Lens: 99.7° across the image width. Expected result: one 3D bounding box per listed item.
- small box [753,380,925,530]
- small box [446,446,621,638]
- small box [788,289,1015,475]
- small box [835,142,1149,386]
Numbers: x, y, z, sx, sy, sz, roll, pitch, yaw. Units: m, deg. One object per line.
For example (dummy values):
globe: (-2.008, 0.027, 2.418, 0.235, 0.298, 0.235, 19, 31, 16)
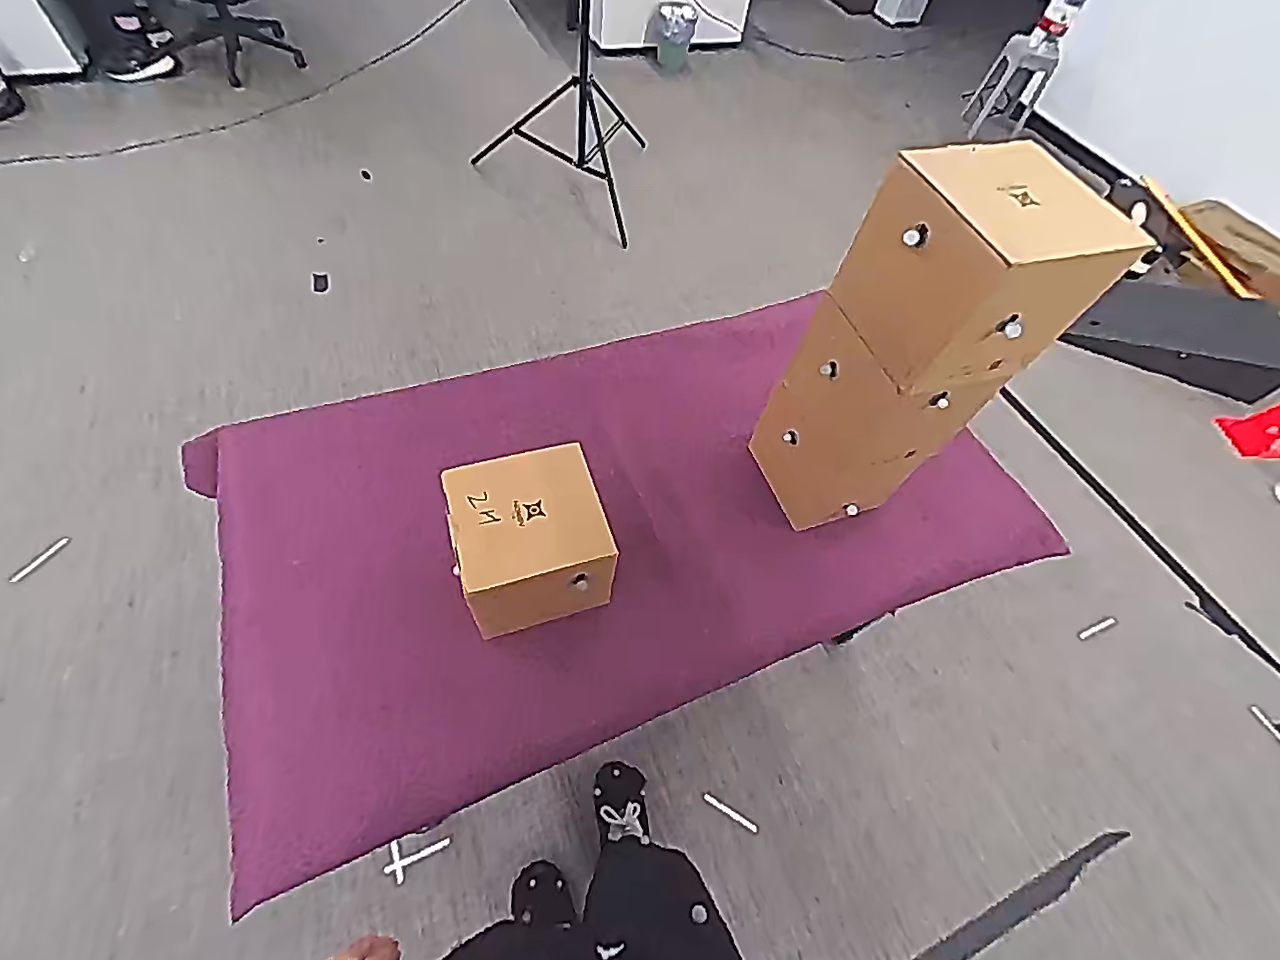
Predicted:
small box: (0.299, -0.049, 0.843, 0.168, 0.176, 0.179, -15, 61, -15)
small box: (-0.137, 0.084, 0.703, 0.179, 0.176, 0.168, -14, 60, -15)
small box: (0.318, -0.133, 0.703, 0.168, 0.176, 0.179, -13, 59, -14)
small box: (0.338, -0.215, 0.563, 0.168, 0.176, 0.179, -13, 60, -14)
